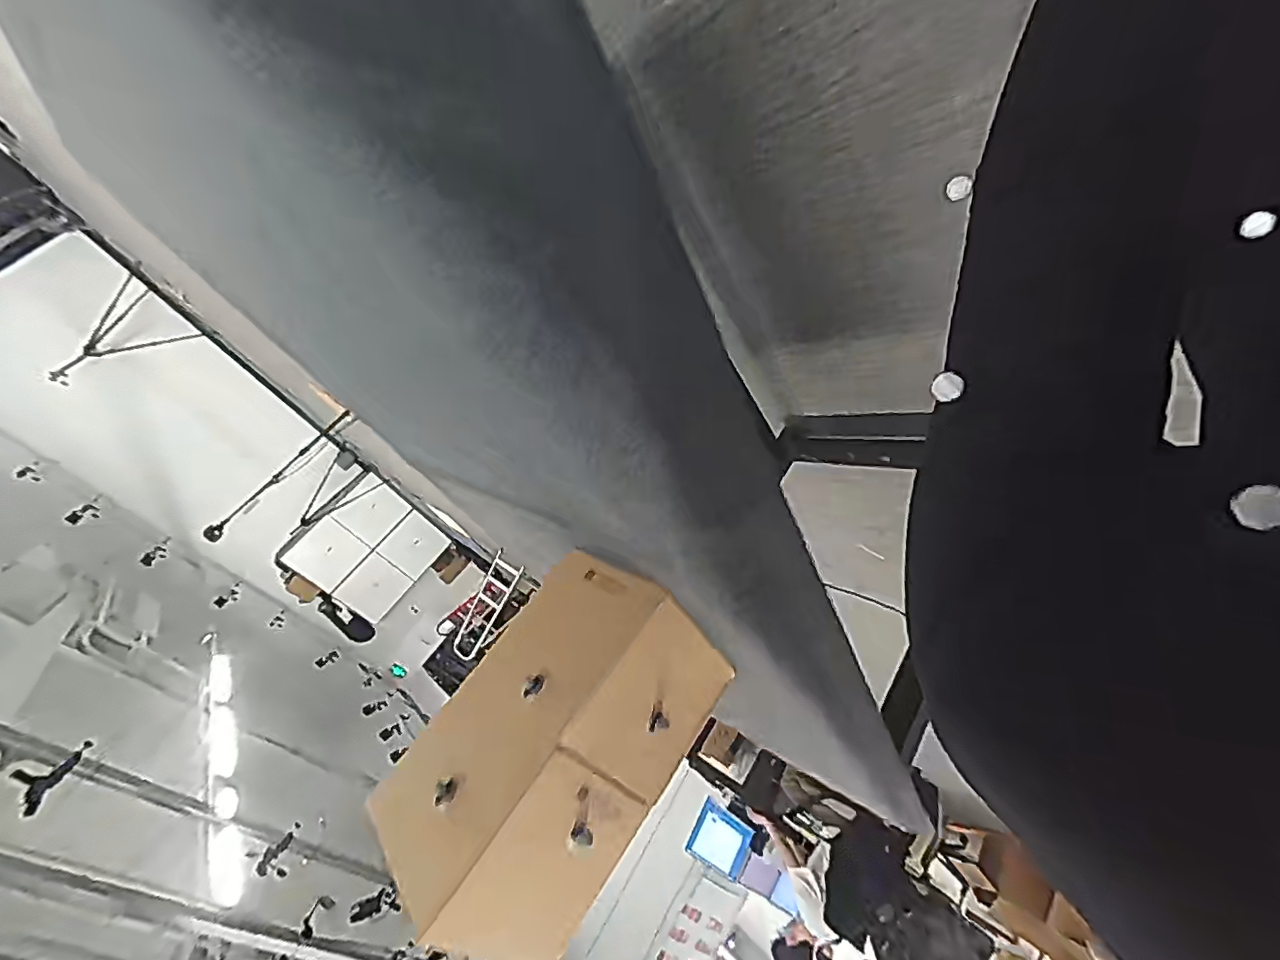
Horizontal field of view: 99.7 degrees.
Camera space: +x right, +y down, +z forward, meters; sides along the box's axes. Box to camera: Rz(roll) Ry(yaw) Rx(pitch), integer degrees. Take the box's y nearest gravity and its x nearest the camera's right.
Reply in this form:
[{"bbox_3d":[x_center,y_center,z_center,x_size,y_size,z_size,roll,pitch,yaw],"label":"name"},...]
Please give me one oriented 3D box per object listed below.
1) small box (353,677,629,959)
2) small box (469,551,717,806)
[{"bbox_3d":[-0.144,0.328,0.544,0.179,0.176,0.168,12,146,49],"label":"small box"},{"bbox_3d":[-0.044,0.208,0.598,0.168,0.176,0.179,12,146,49],"label":"small box"}]
